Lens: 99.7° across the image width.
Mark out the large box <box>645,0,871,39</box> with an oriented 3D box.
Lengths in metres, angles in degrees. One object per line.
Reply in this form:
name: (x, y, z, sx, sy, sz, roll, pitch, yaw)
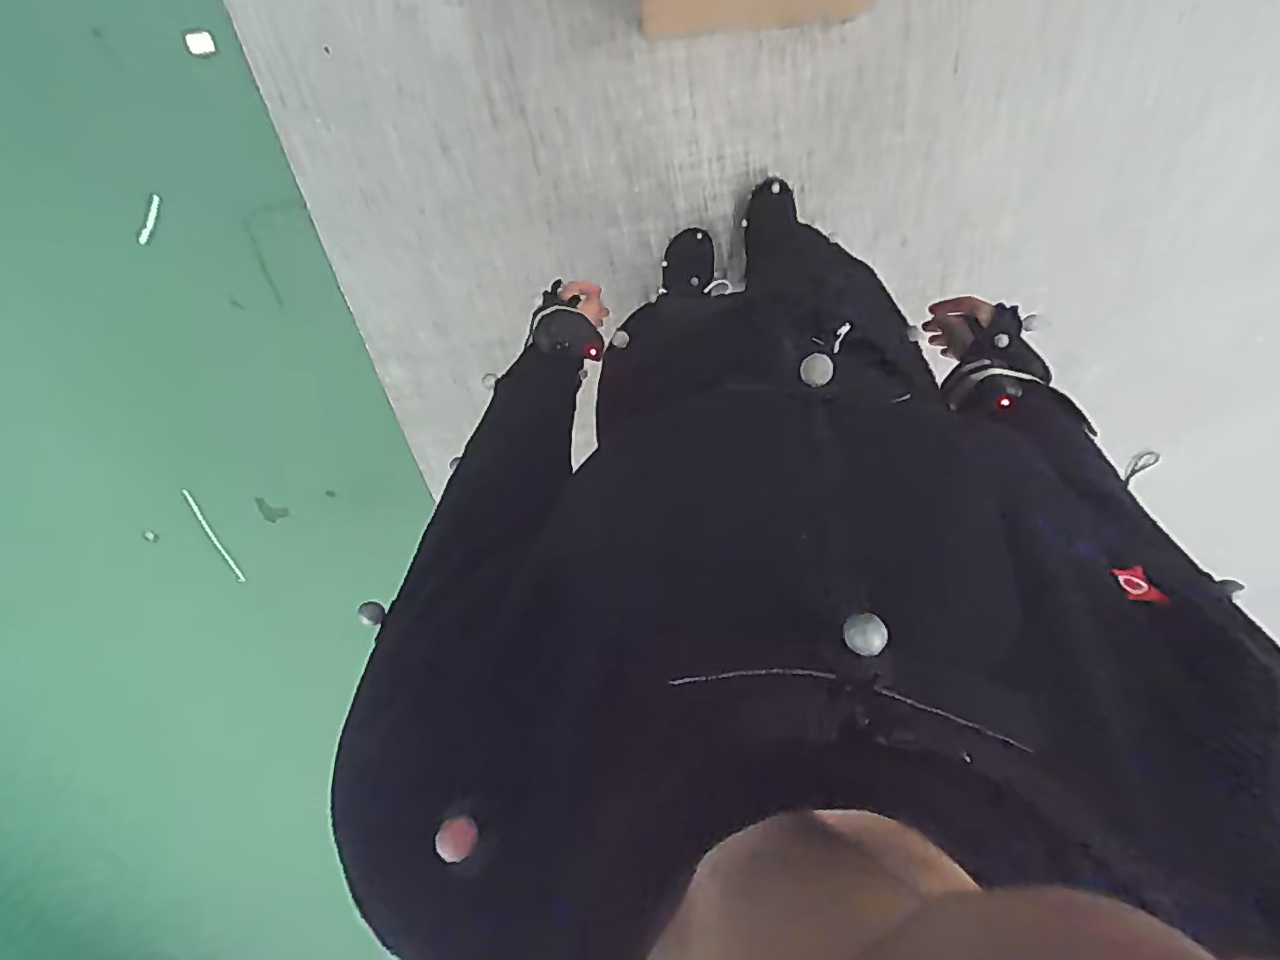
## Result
large box: (0.197, -0.909, 0.805, 0.408, 0.320, 0.320, -6, 118, 1)
